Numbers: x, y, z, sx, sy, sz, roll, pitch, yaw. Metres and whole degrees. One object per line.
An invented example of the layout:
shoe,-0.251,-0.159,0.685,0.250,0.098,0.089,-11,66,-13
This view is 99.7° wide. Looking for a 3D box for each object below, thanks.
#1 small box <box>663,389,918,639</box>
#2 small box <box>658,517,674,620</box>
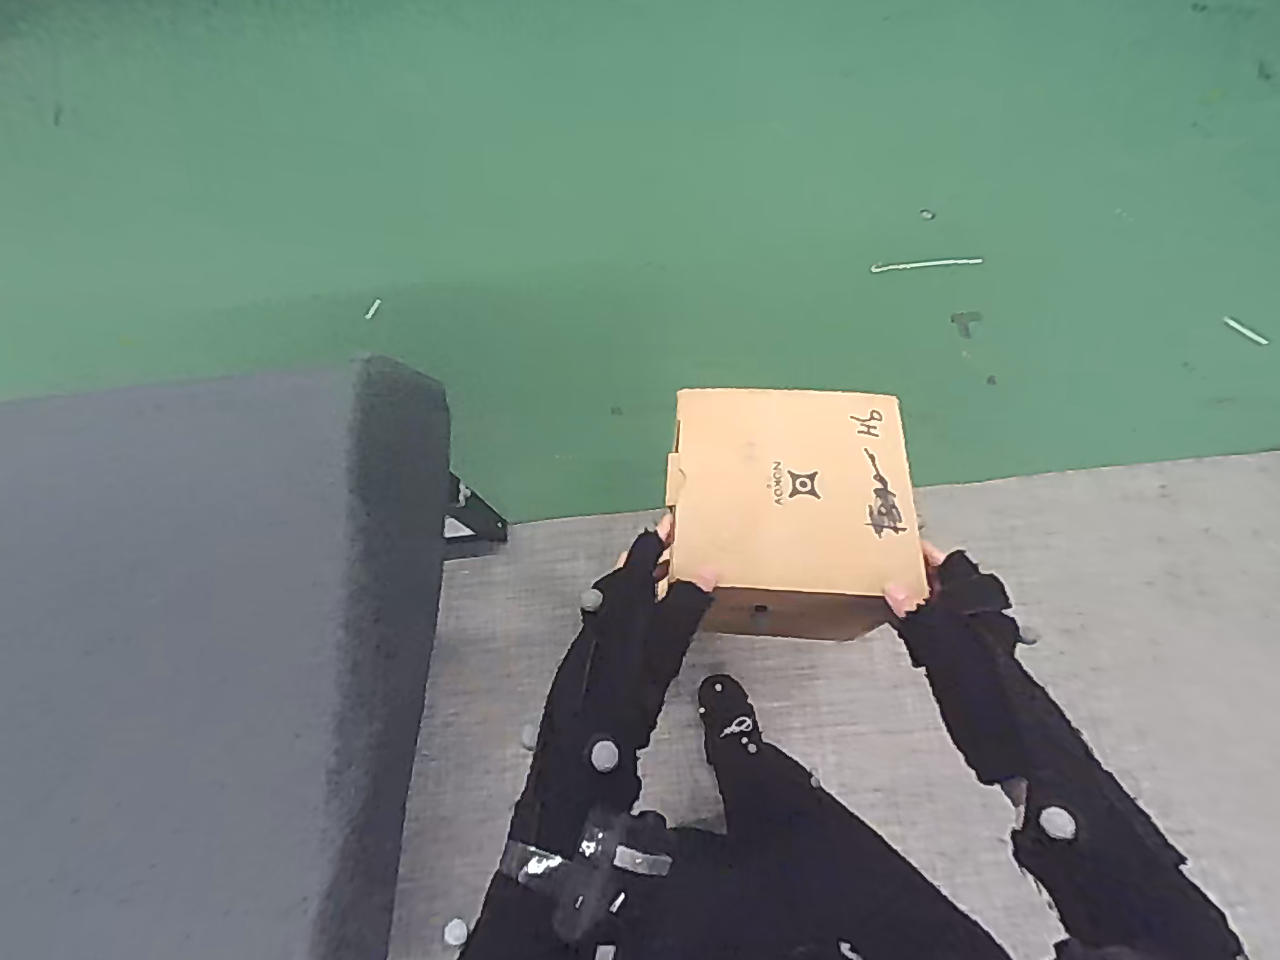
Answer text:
small box,0.115,0.038,0.478,0.179,0.176,0.168,4,64,5
small box,0.122,0.181,1.062,0.168,0.176,0.179,1,71,5
